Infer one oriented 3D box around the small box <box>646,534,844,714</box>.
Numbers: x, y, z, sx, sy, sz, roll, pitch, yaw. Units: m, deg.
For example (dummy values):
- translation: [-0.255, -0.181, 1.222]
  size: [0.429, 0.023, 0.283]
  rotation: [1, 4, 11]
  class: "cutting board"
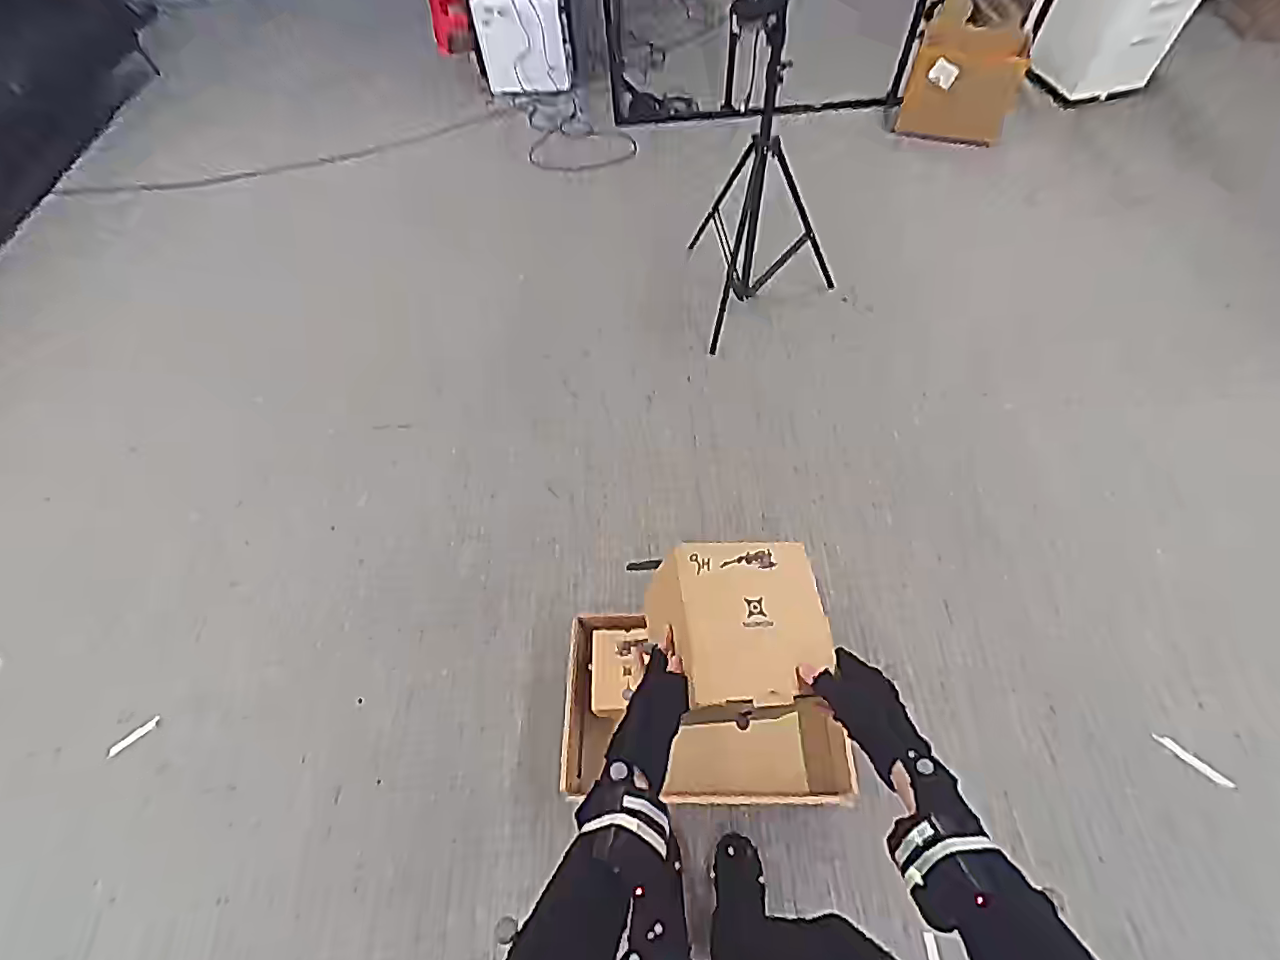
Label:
- translation: [0.109, 0.178, 0.649]
  size: [0.168, 0.176, 0.179]
  rotation: [1, 60, -13]
  class: "small box"
